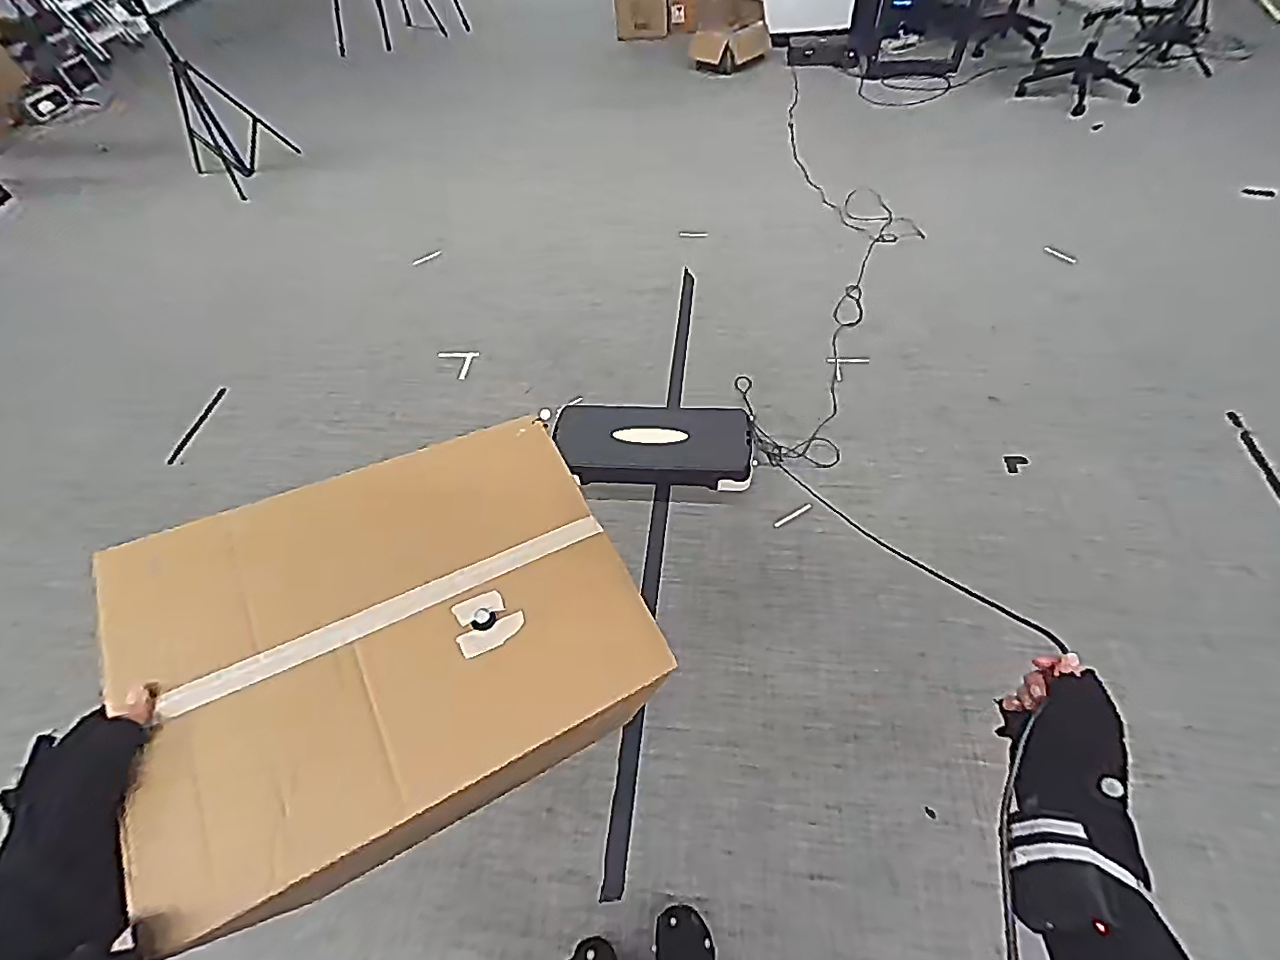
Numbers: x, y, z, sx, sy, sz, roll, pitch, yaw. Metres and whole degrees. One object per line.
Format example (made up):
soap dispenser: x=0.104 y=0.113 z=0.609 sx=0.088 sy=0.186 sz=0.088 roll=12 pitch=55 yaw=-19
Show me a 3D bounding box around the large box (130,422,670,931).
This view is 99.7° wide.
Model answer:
large box: x=-0.233 y=0.197 z=0.613 sx=0.408 sy=0.320 sz=0.320 roll=-21 pitch=64 yaw=-22
